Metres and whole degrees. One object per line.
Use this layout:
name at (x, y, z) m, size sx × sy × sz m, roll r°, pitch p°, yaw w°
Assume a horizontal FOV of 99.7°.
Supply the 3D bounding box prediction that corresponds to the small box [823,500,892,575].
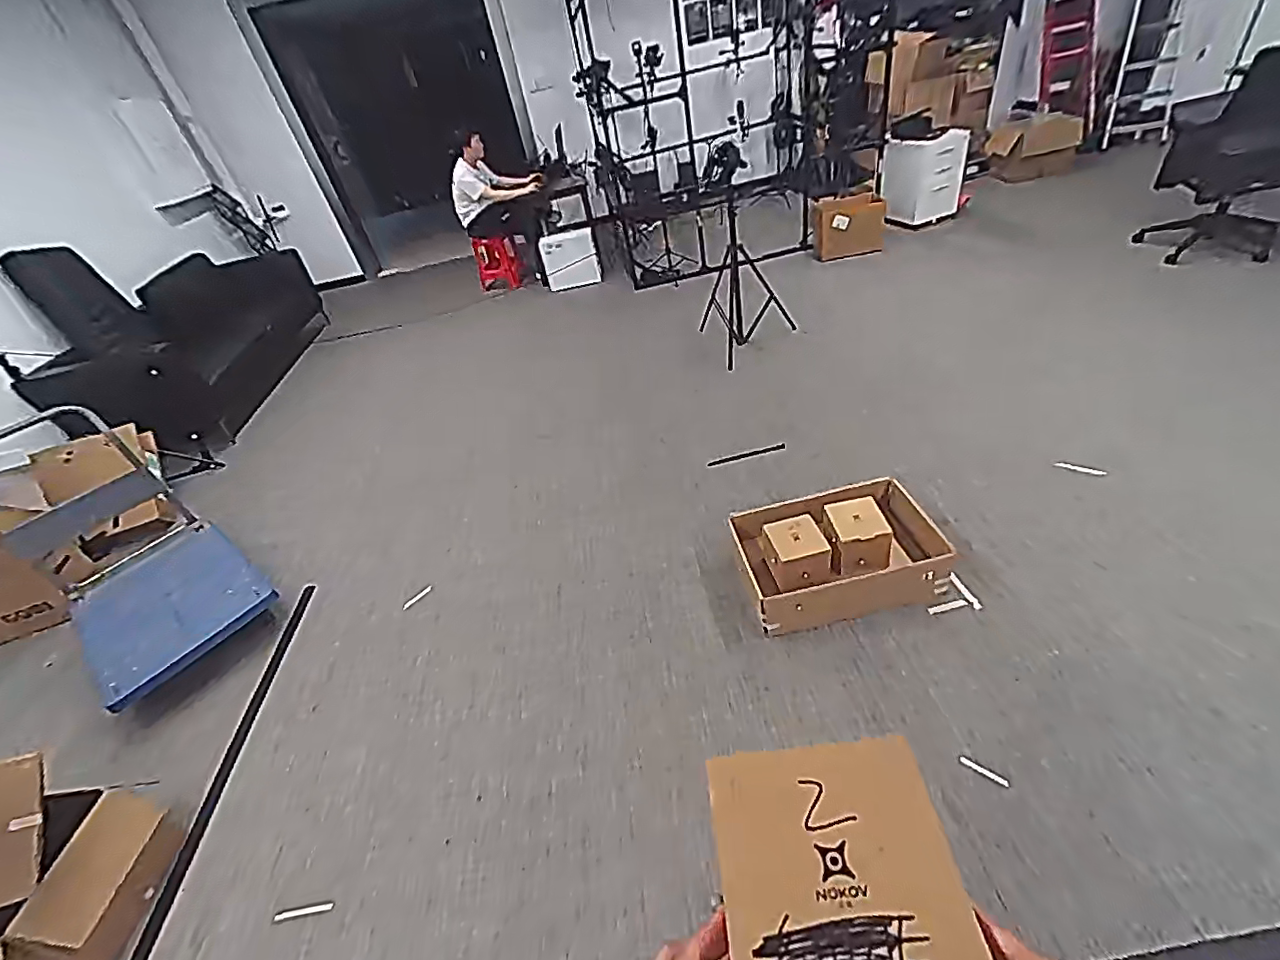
small box at (0.727, 0.194, 1.827) m, size 0.168 × 0.176 × 0.179 m, roll -11°, pitch 39°, yaw 4°

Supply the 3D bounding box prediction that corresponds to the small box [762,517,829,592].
small box at (0.518, 0.255, 1.809) m, size 0.168 × 0.176 × 0.179 m, roll -13°, pitch 38°, yaw -3°
